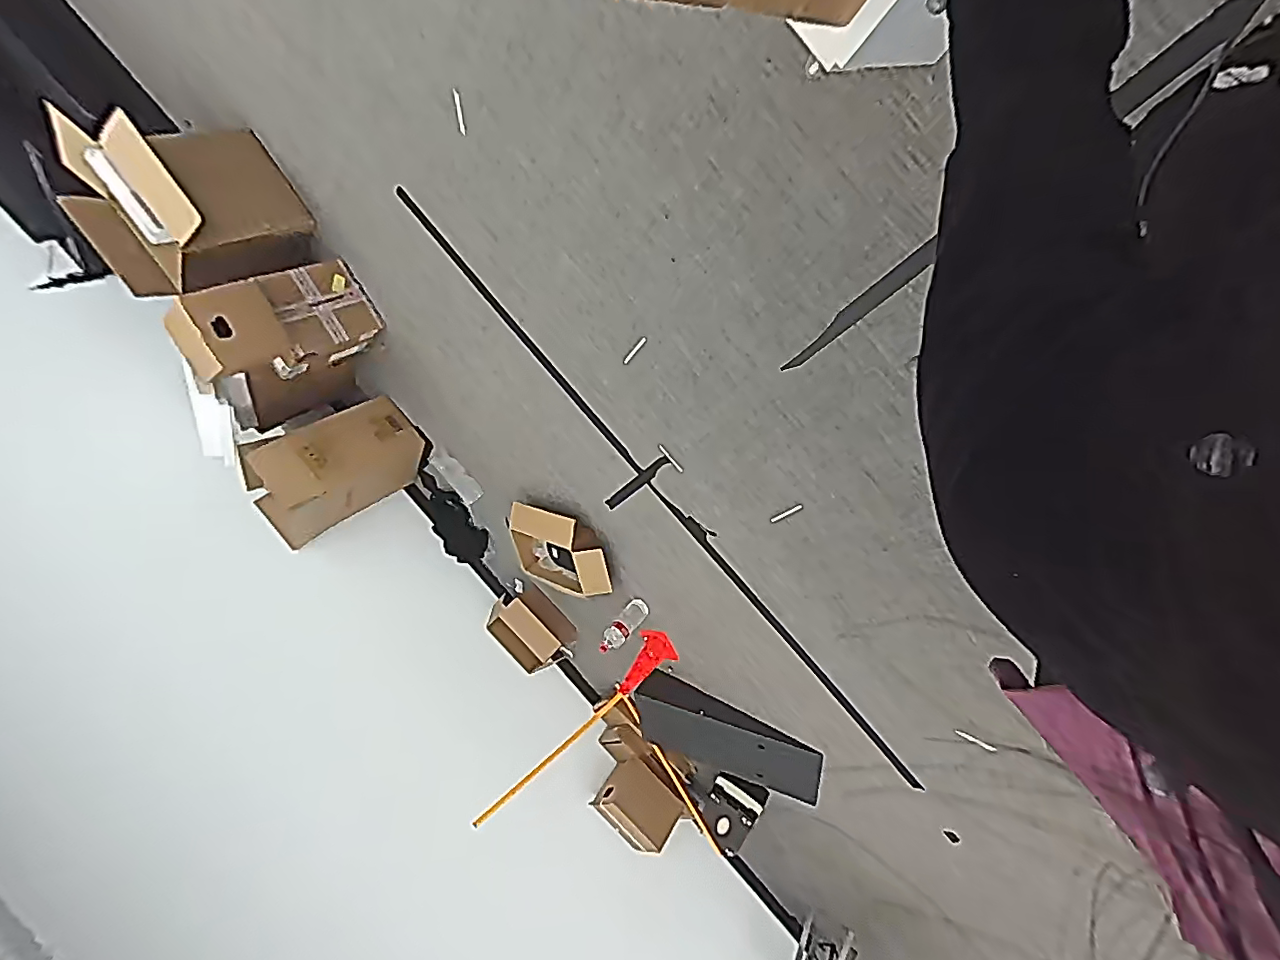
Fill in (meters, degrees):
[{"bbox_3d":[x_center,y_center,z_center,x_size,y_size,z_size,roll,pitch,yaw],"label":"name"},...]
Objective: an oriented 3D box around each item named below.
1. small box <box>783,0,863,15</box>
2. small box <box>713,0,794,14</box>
[{"bbox_3d":[0.198,-0.636,0.569,0.179,0.176,0.168,51,140,-1],"label":"small box"},{"bbox_3d":[0.105,-0.552,0.464,0.179,0.176,0.168,50,140,0],"label":"small box"}]
